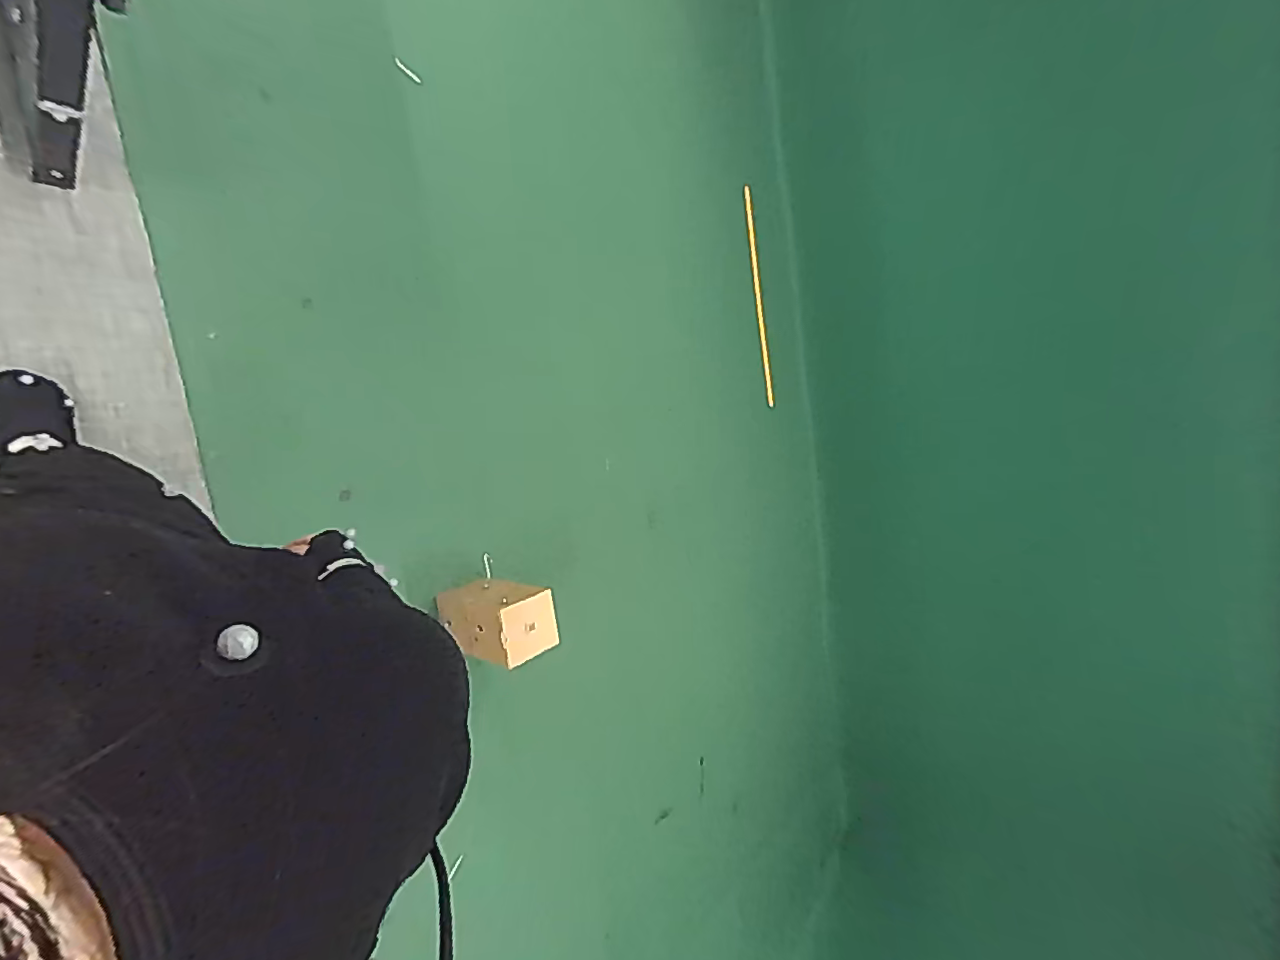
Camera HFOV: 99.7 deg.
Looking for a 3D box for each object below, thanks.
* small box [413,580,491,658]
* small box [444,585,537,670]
[{"bbox_3d":[-0.546,0.406,1.613,0.179,0.176,0.168,-15,100,-50],"label":"small box"},{"bbox_3d":[-0.418,0.404,1.513,0.179,0.176,0.168,-17,102,-50],"label":"small box"}]
